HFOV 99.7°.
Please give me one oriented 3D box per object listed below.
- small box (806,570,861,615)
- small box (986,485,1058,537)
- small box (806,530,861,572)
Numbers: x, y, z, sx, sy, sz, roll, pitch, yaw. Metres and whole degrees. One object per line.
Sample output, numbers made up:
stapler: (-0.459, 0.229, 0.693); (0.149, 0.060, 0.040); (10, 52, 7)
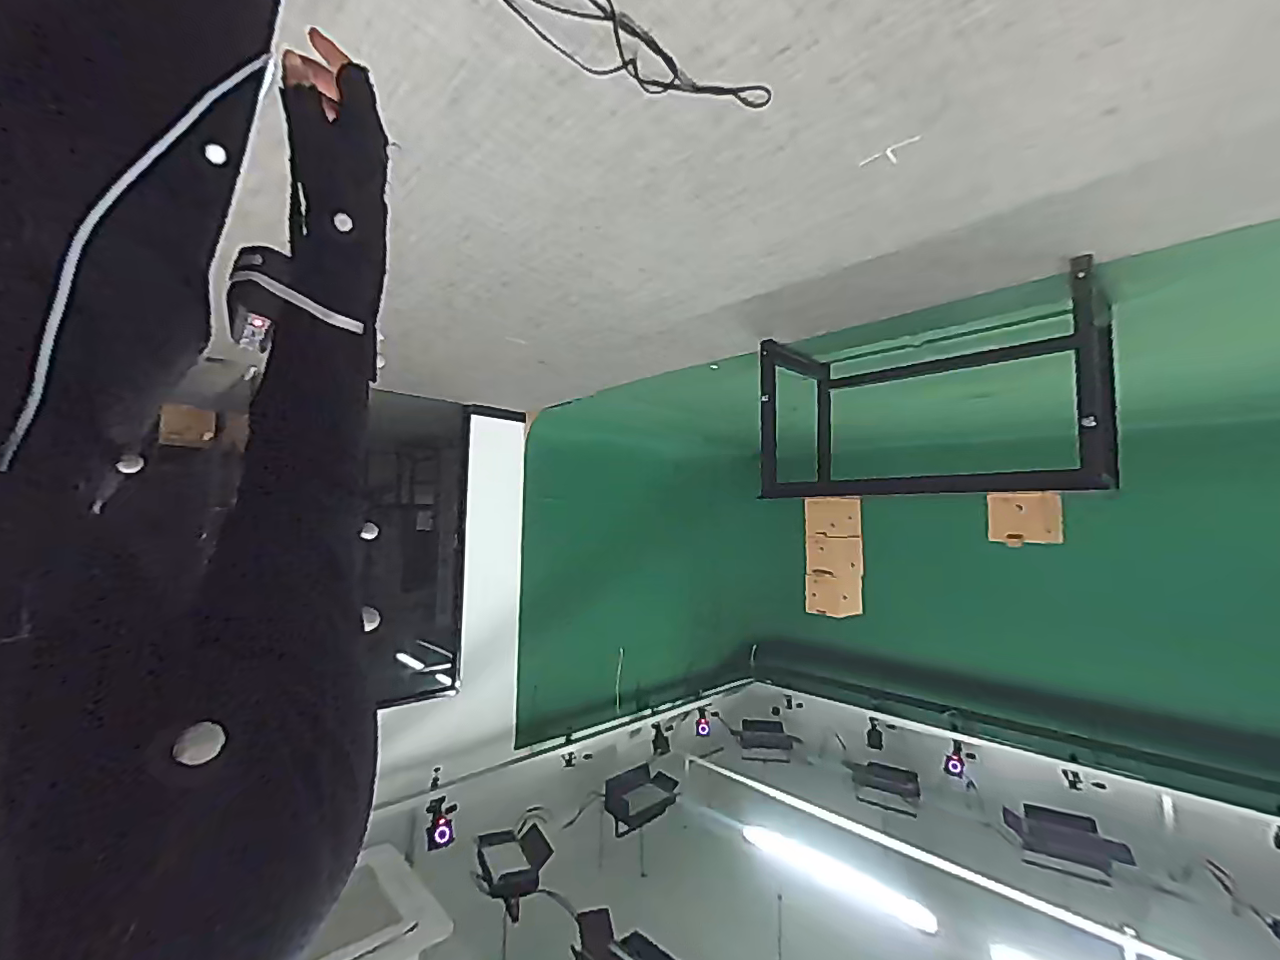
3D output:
small box: (0.841, 0.485, 2.357); (0.179, 0.176, 0.168); (2, 176, -37)
small box: (1.334, 0.107, 1.885); (0.179, 0.176, 0.168); (5, 175, -36)
small box: (0.845, 0.305, 2.364); (0.179, 0.176, 0.168); (3, 174, -37)
